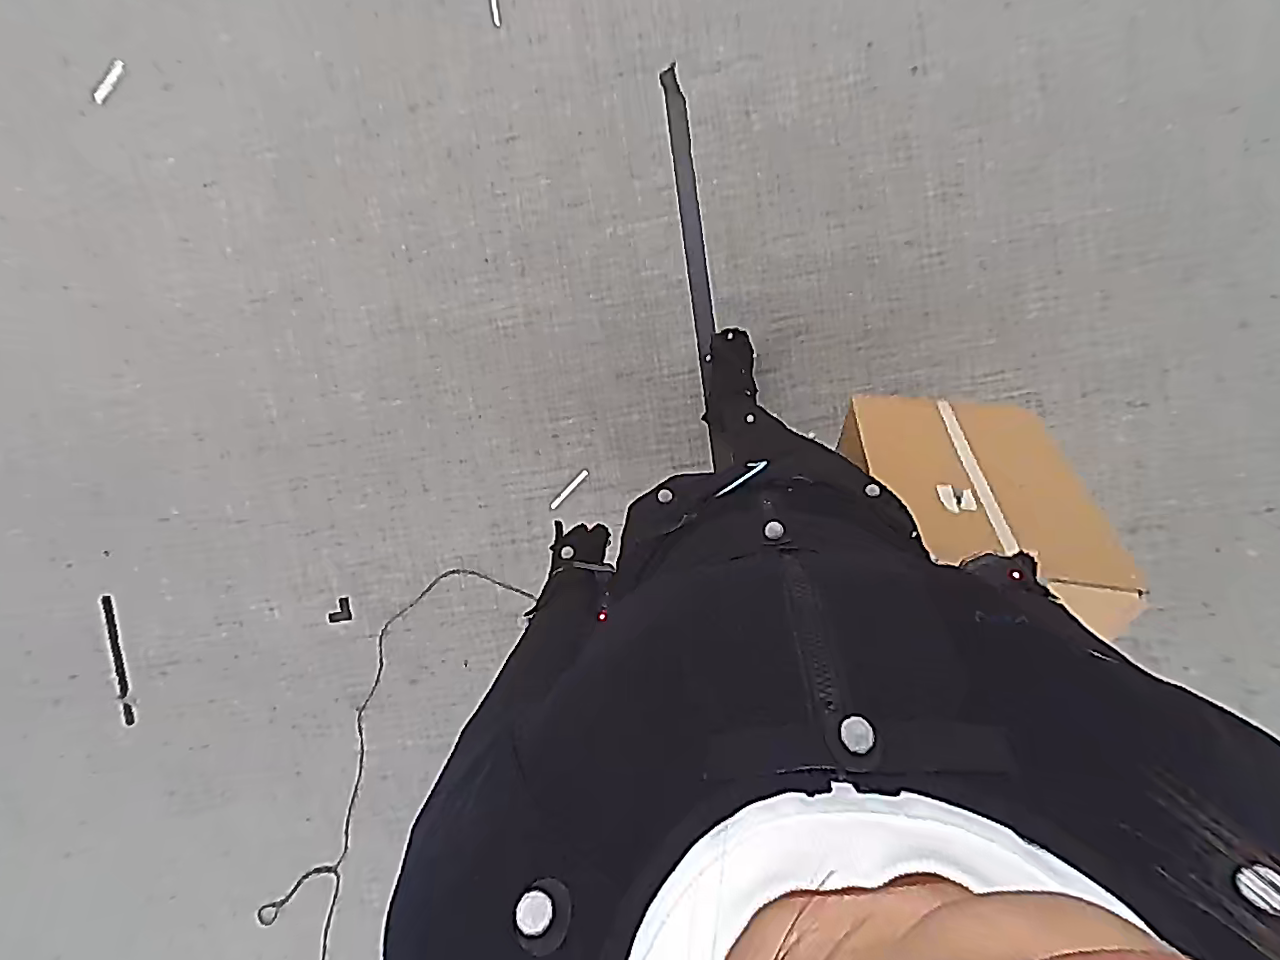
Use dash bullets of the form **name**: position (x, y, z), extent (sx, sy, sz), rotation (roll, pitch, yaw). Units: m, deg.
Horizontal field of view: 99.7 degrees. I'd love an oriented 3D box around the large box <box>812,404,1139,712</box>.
- **large box**: position (0.497, 0.117, 0.928), extent (0.320, 0.408, 0.320), rotation (6, 132, 8)
